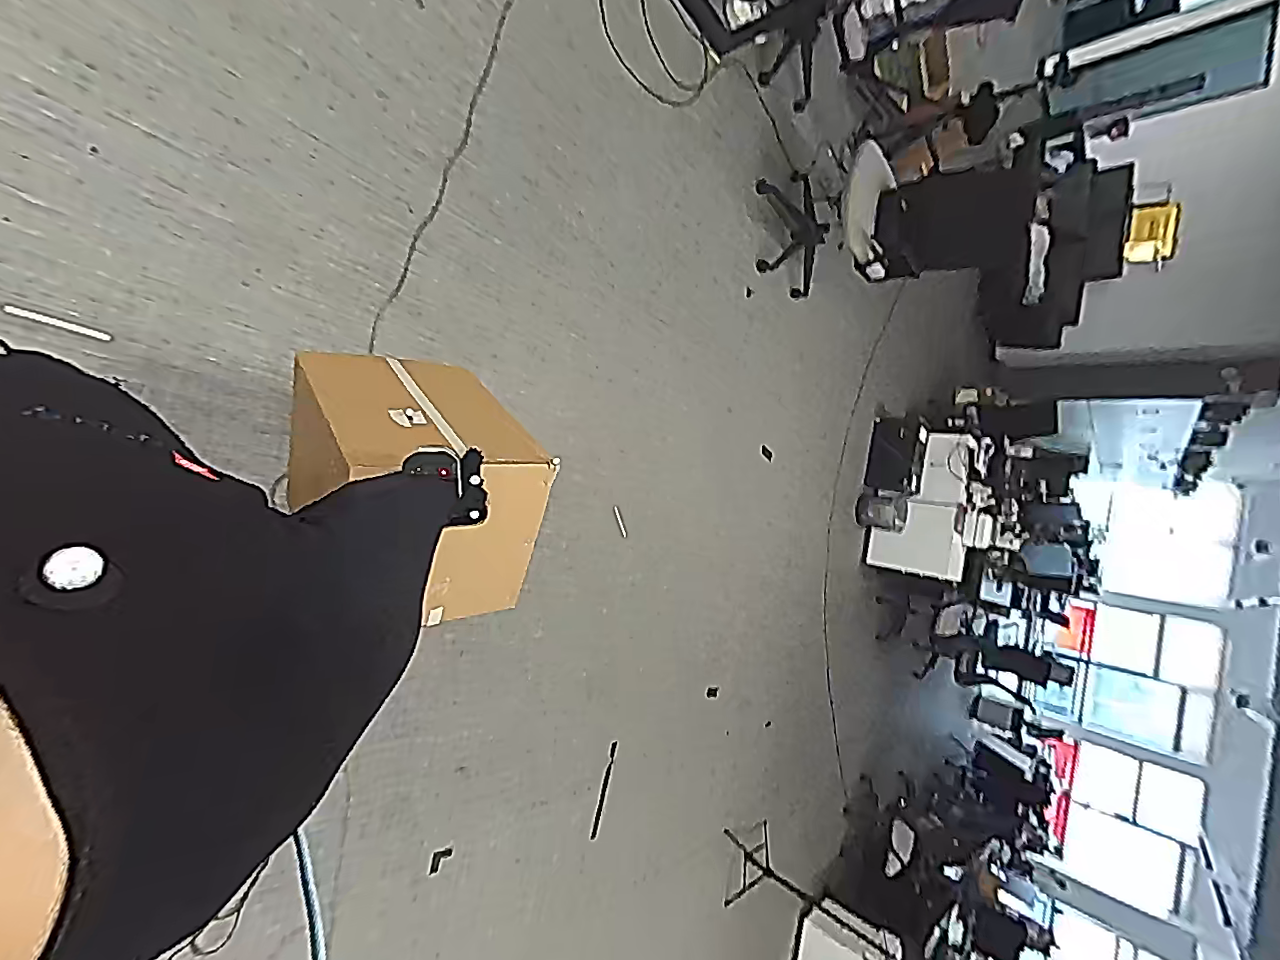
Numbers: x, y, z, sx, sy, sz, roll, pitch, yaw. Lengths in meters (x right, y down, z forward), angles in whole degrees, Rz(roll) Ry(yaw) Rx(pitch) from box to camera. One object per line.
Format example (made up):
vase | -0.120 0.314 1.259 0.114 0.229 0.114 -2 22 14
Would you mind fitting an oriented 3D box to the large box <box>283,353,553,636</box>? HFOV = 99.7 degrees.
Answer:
large box | -0.423 0.005 0.981 0.320 0.408 0.320 -4 125 -42
